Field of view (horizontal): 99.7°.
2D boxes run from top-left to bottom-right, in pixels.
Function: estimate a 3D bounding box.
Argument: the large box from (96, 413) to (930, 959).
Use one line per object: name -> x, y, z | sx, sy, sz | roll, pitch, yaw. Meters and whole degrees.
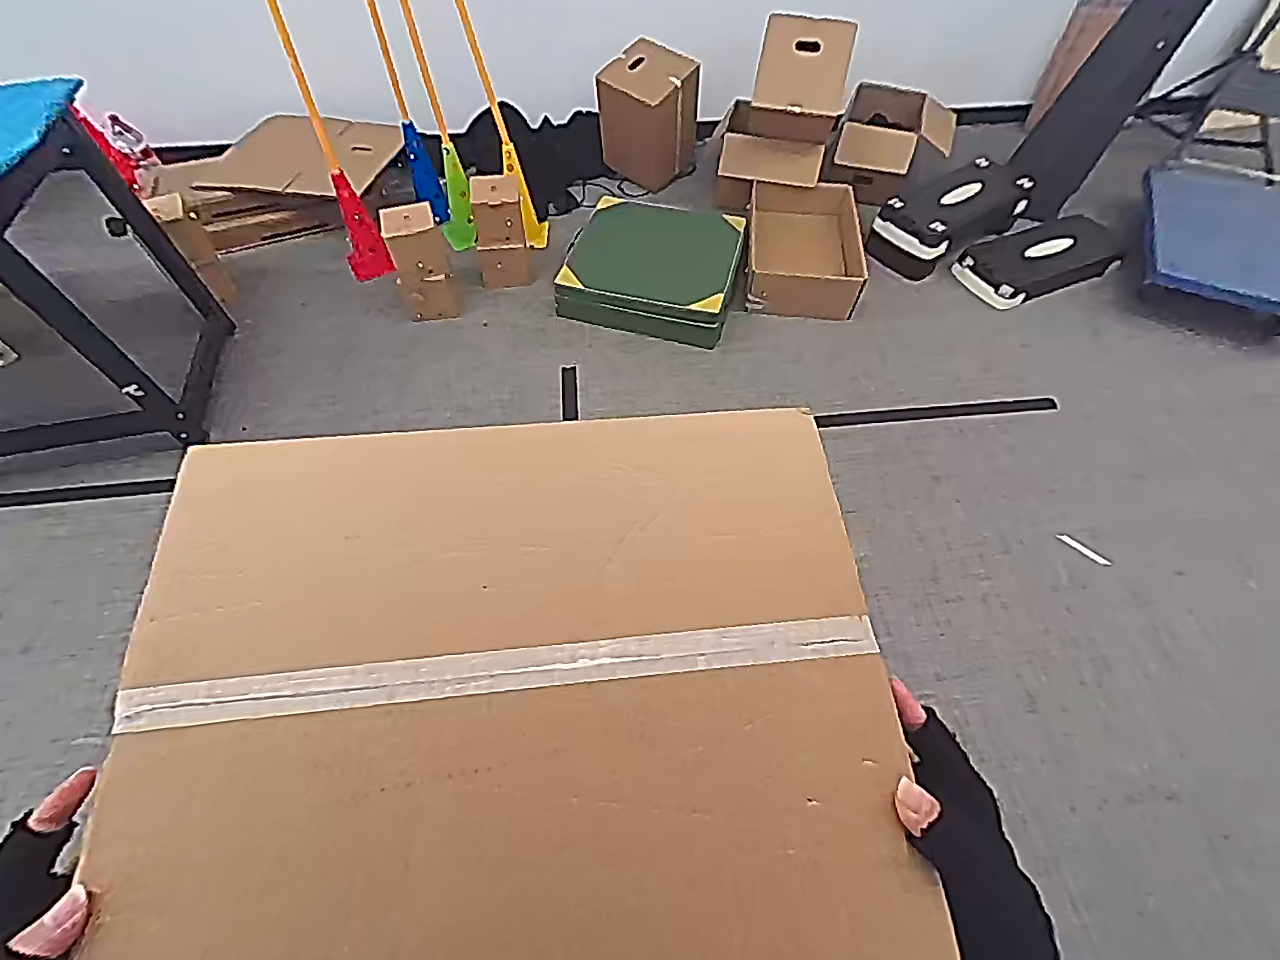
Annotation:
large box -> -0.074, 0.169, 0.447 | 0.408, 0.320, 0.320 | -4, 66, -5
